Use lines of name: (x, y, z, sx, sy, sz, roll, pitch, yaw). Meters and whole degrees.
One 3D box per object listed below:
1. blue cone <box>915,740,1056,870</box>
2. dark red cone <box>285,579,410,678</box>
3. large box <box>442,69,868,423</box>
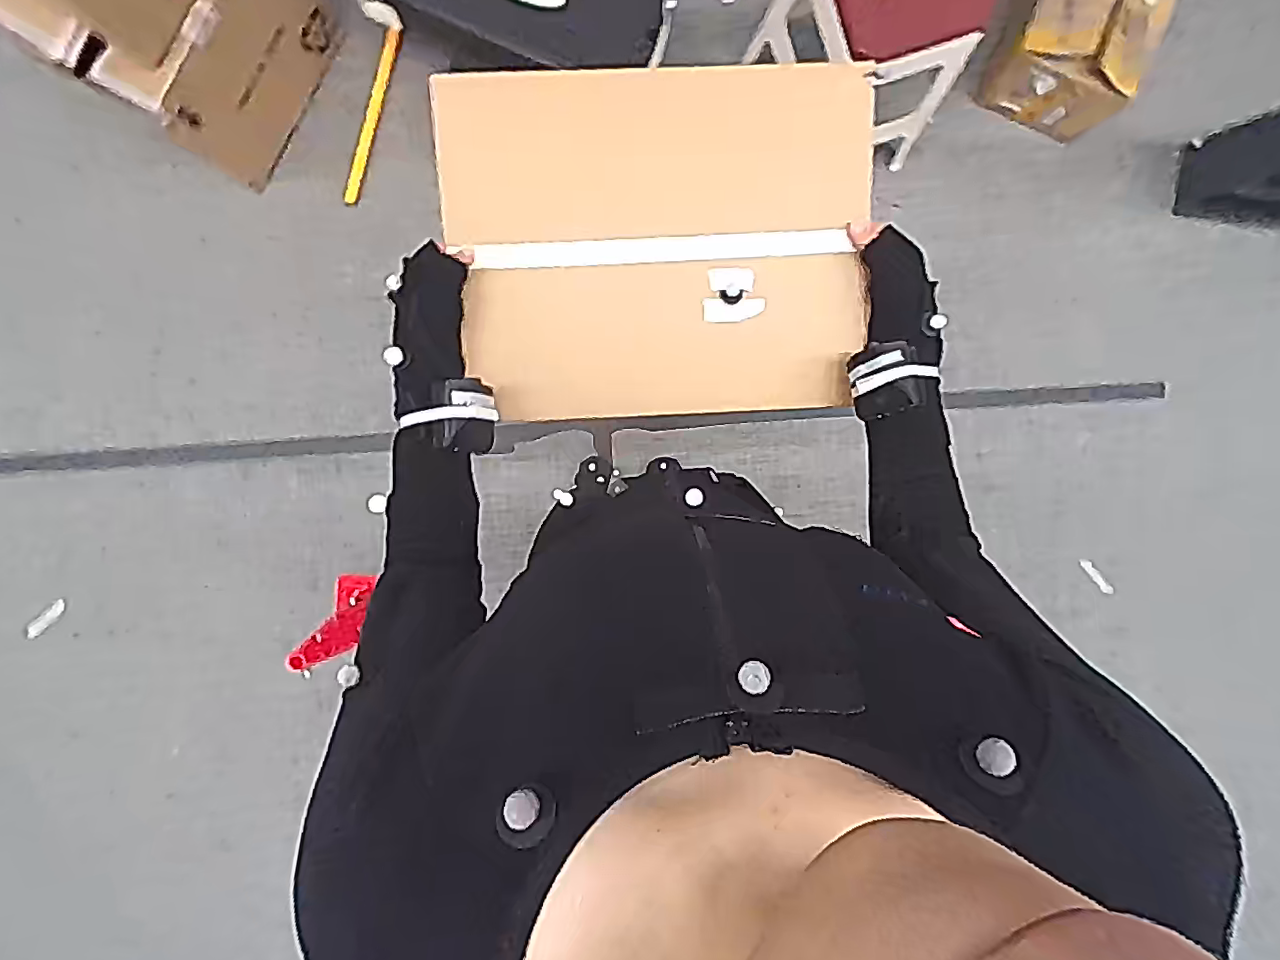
blue cone: (0.892, 0.850, 1.390, 0.192, 0.380, 0.193, 0, 92, -3)
dark red cone: (-0.704, 0.373, 1.272, 0.201, 0.394, 0.202, 2, 92, -3)
large box: (0.016, -0.244, 0.670, 0.408, 0.320, 0.320, -3, 100, -2)
